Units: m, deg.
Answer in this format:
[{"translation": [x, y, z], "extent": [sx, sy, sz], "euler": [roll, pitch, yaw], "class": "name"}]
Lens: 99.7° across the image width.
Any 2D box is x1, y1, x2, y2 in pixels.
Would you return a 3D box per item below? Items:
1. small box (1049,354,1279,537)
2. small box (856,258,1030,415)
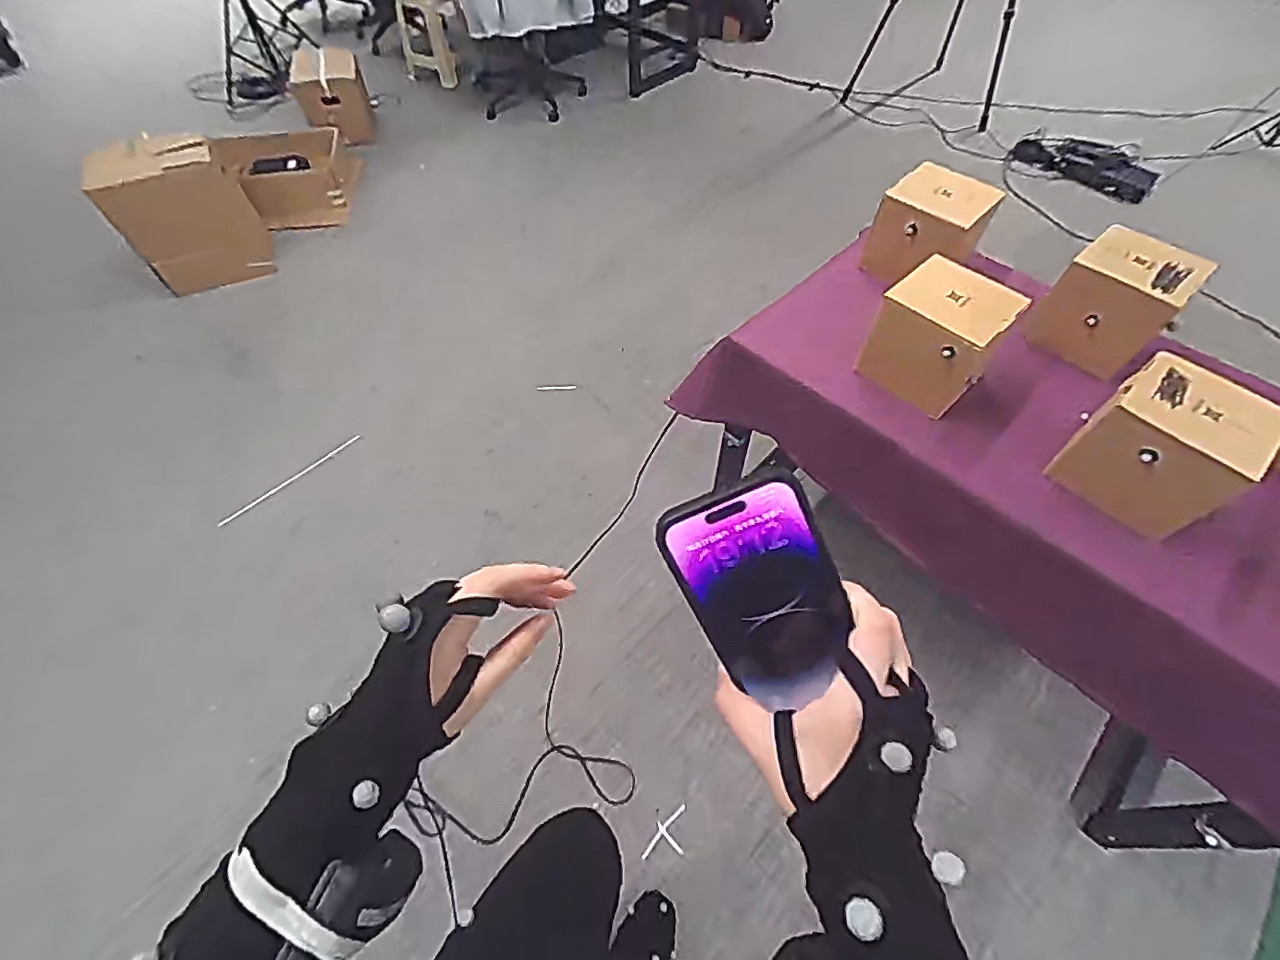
[{"translation": [0.771, -0.047, 0.807], "extent": [0.168, 0.176, 0.179], "euler": [-36, 64, -21], "class": "small box"}, {"translation": [0.514, -0.247, 0.943], "extent": [0.168, 0.176, 0.179], "euler": [-38, 65, -22], "class": "small box"}]
